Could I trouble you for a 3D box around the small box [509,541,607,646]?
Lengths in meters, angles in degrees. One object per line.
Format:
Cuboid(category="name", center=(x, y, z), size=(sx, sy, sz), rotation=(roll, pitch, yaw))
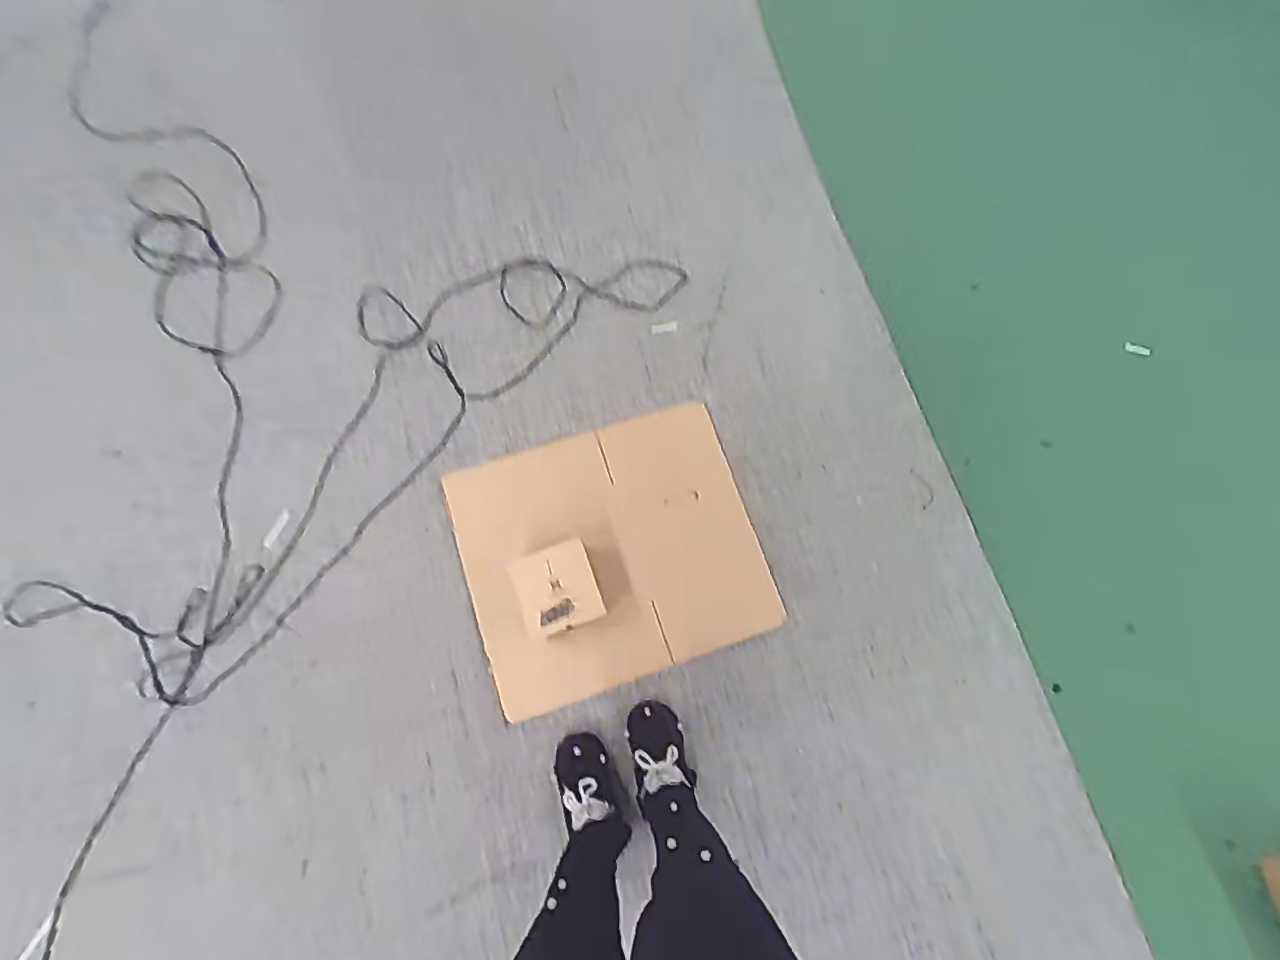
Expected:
Cuboid(category="small box", center=(-0.174, 0.252, 1.203), size=(0.168, 0.176, 0.179), rotation=(-19, 77, -8))
